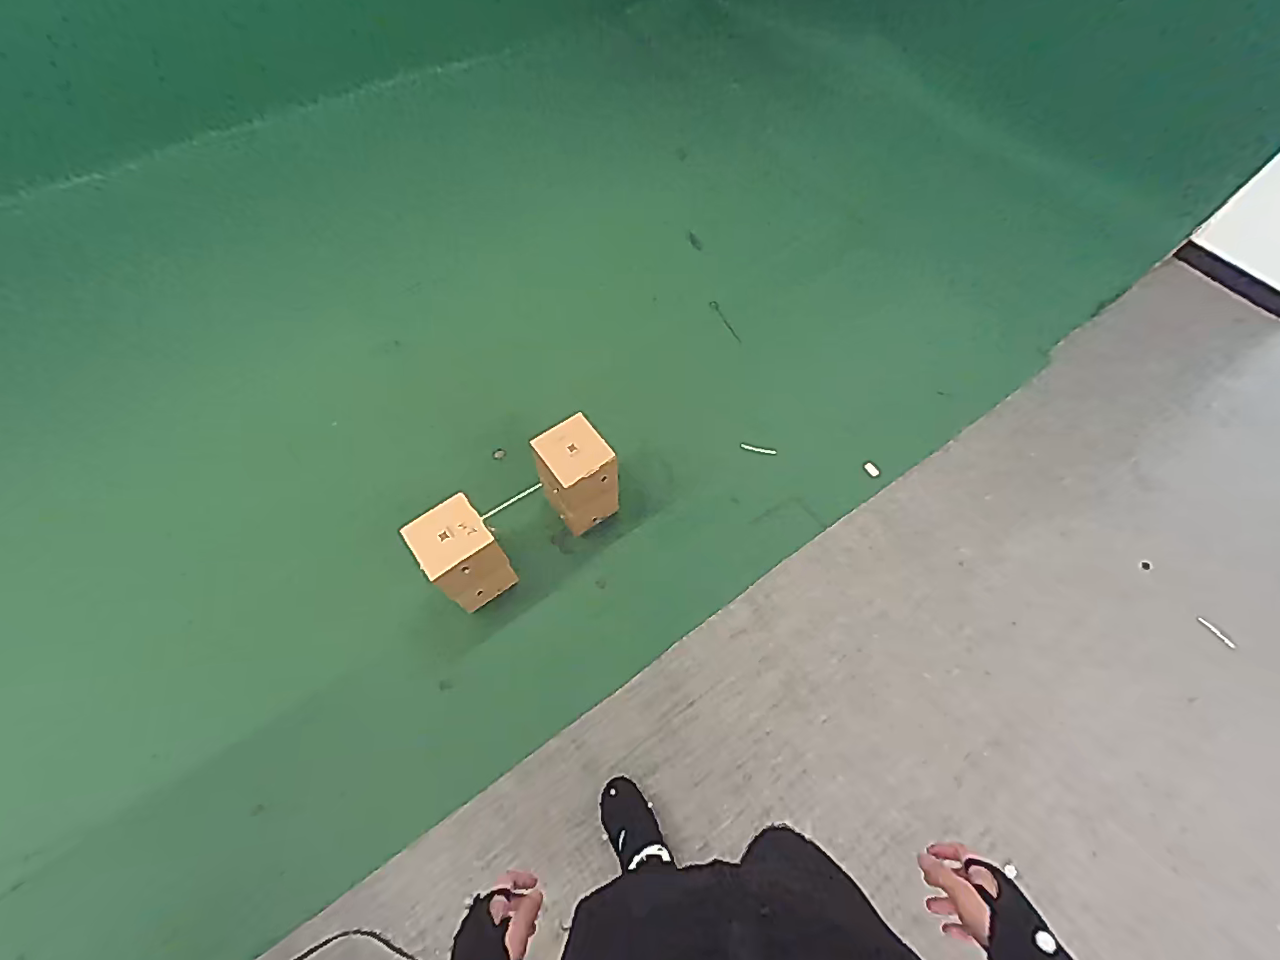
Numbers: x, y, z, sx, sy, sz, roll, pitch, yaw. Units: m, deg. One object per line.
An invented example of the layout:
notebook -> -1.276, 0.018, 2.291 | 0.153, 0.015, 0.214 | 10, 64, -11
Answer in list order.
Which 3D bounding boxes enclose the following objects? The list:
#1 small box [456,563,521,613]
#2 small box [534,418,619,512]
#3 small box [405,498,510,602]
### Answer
small box -> -0.458, 0.256, 1.523 | 0.168, 0.176, 0.179 | -34, 67, -17
small box -> -0.169, -0.031, 1.493 | 0.168, 0.176, 0.179 | -33, 68, -18
small box -> -0.456, 0.183, 1.376 | 0.179, 0.176, 0.168 | -34, 67, -17
